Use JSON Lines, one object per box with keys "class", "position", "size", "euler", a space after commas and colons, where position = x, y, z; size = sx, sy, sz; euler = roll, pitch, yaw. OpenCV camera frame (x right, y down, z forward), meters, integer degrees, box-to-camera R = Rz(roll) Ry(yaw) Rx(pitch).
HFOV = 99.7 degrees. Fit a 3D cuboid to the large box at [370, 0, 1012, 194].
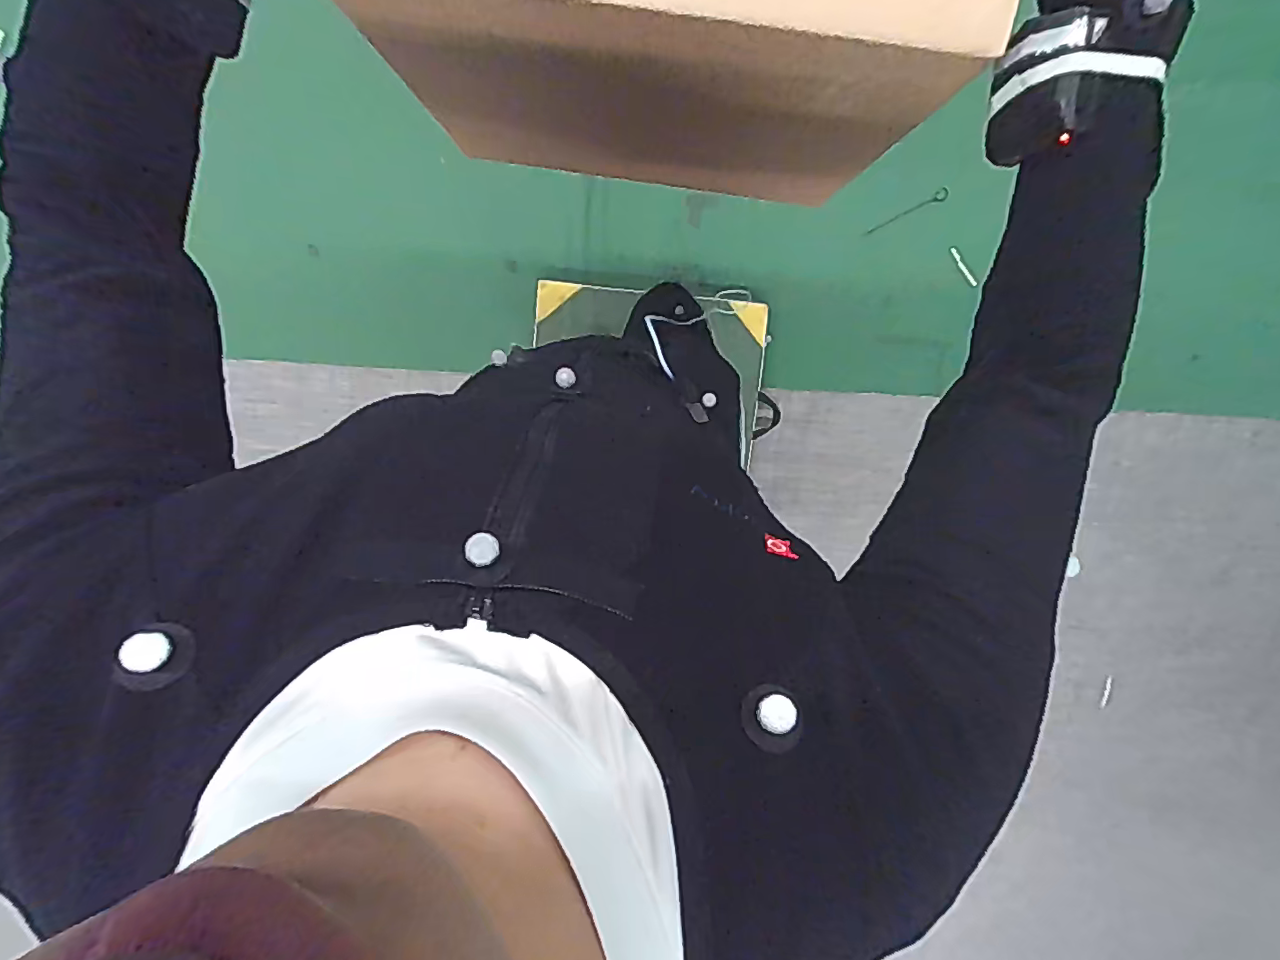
{"class": "large box", "position": [0.031, -0.456, 0.429], "size": [0.408, 0.320, 0.320], "euler": [6, 103, -3]}
